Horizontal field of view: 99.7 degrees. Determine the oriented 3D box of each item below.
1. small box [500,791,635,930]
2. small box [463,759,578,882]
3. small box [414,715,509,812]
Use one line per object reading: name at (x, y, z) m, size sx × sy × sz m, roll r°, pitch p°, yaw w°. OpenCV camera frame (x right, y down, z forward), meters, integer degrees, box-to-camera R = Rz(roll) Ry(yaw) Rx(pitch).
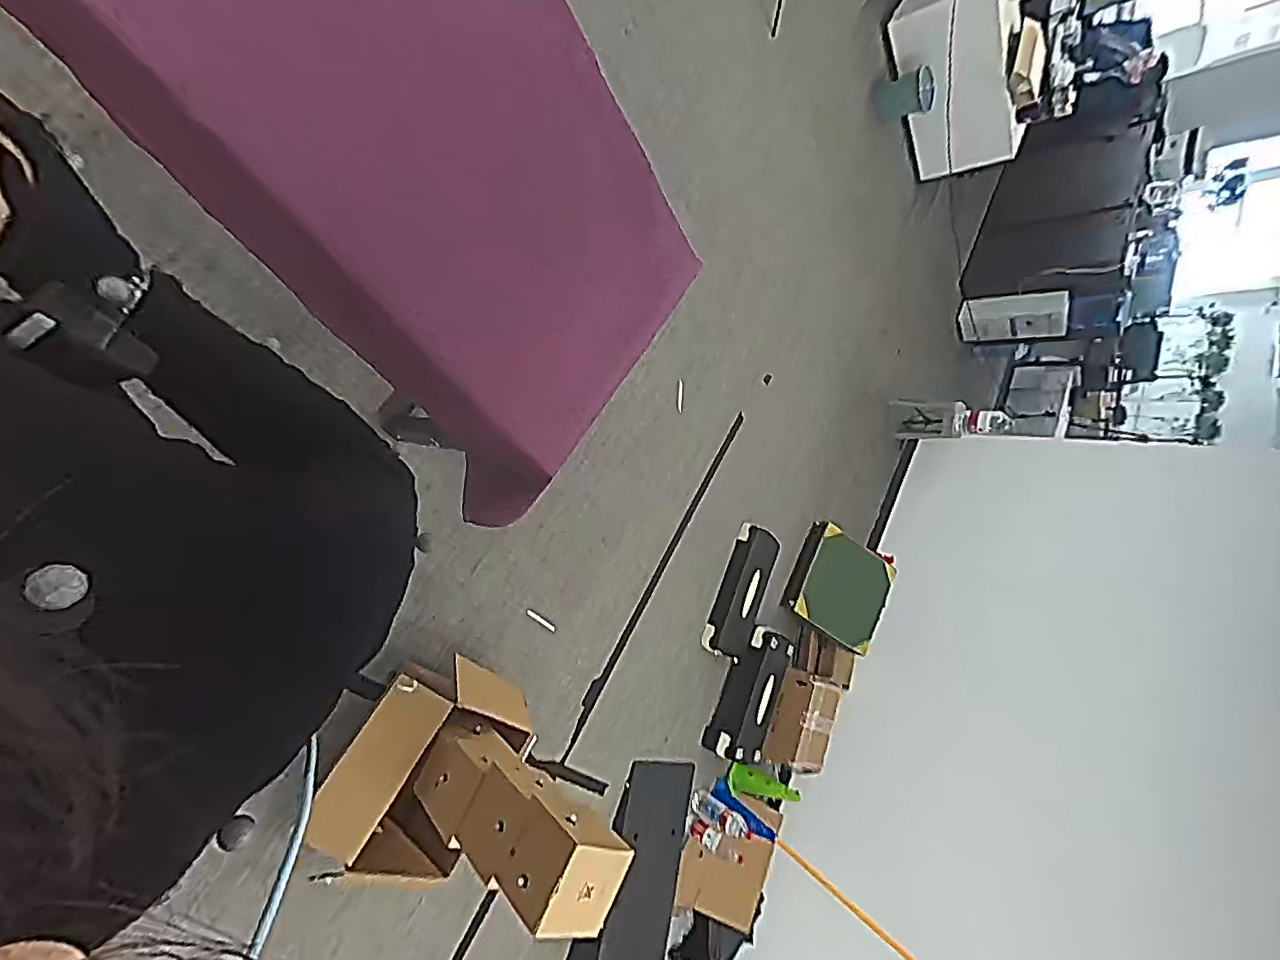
small box at (-0.149, 0.761, 1.091) m, size 0.179 × 0.176 × 0.168 m, roll 40°, pitch 72°, yaw -39°
small box at (-0.265, 0.754, 1.207) m, size 0.168 × 0.176 × 0.179 m, roll 38°, pitch 73°, yaw -38°
small box at (-0.484, 0.748, 1.454) m, size 0.168 × 0.176 × 0.179 m, roll 20°, pitch 85°, yaw -42°
